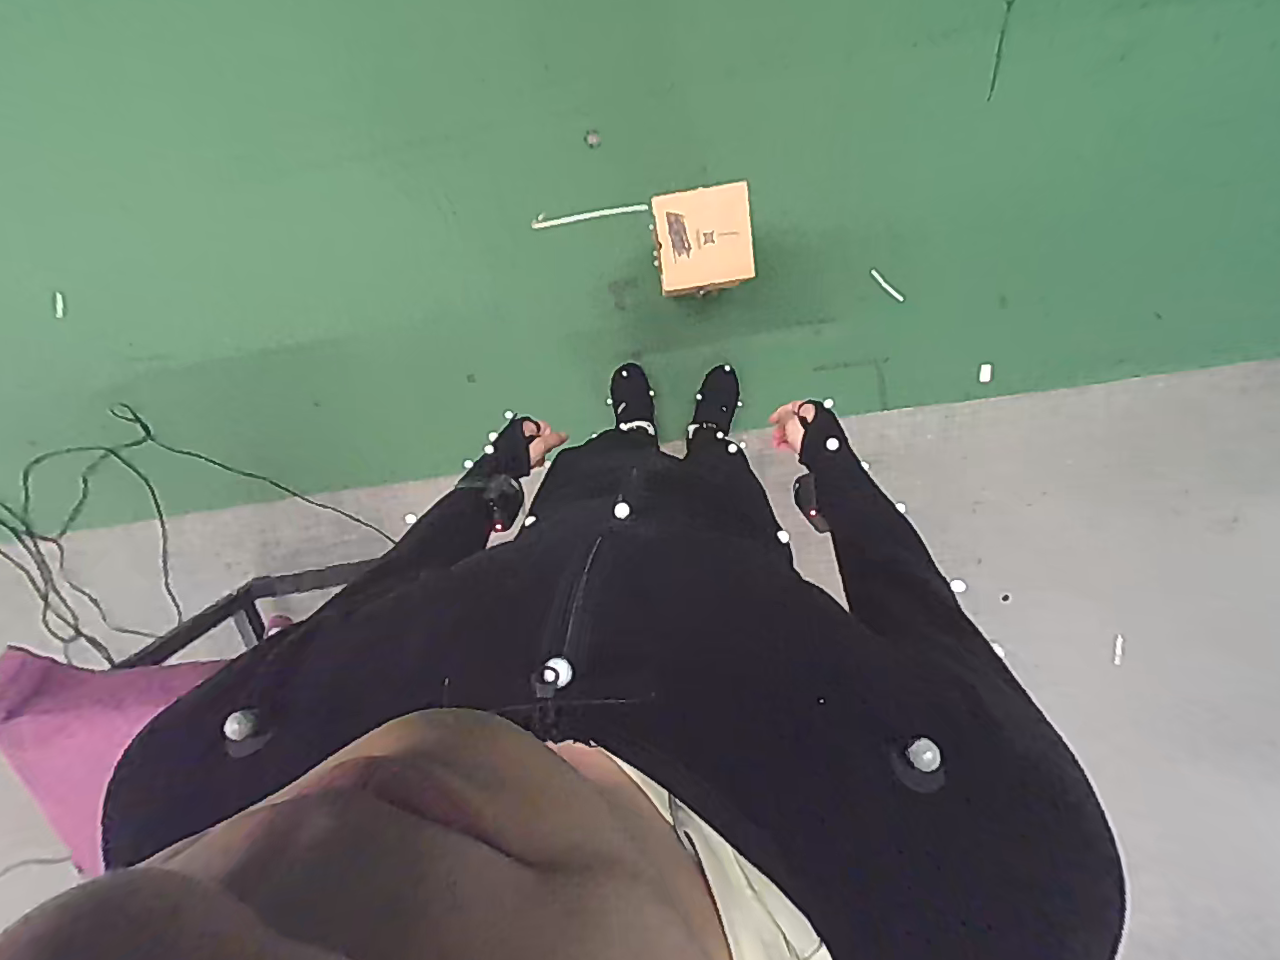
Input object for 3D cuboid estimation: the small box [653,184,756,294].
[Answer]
[{"bbox_3d":[0.125,-0.466,1.072,0.179,0.176,0.168,-8,107,5],"label":"small box"}]
